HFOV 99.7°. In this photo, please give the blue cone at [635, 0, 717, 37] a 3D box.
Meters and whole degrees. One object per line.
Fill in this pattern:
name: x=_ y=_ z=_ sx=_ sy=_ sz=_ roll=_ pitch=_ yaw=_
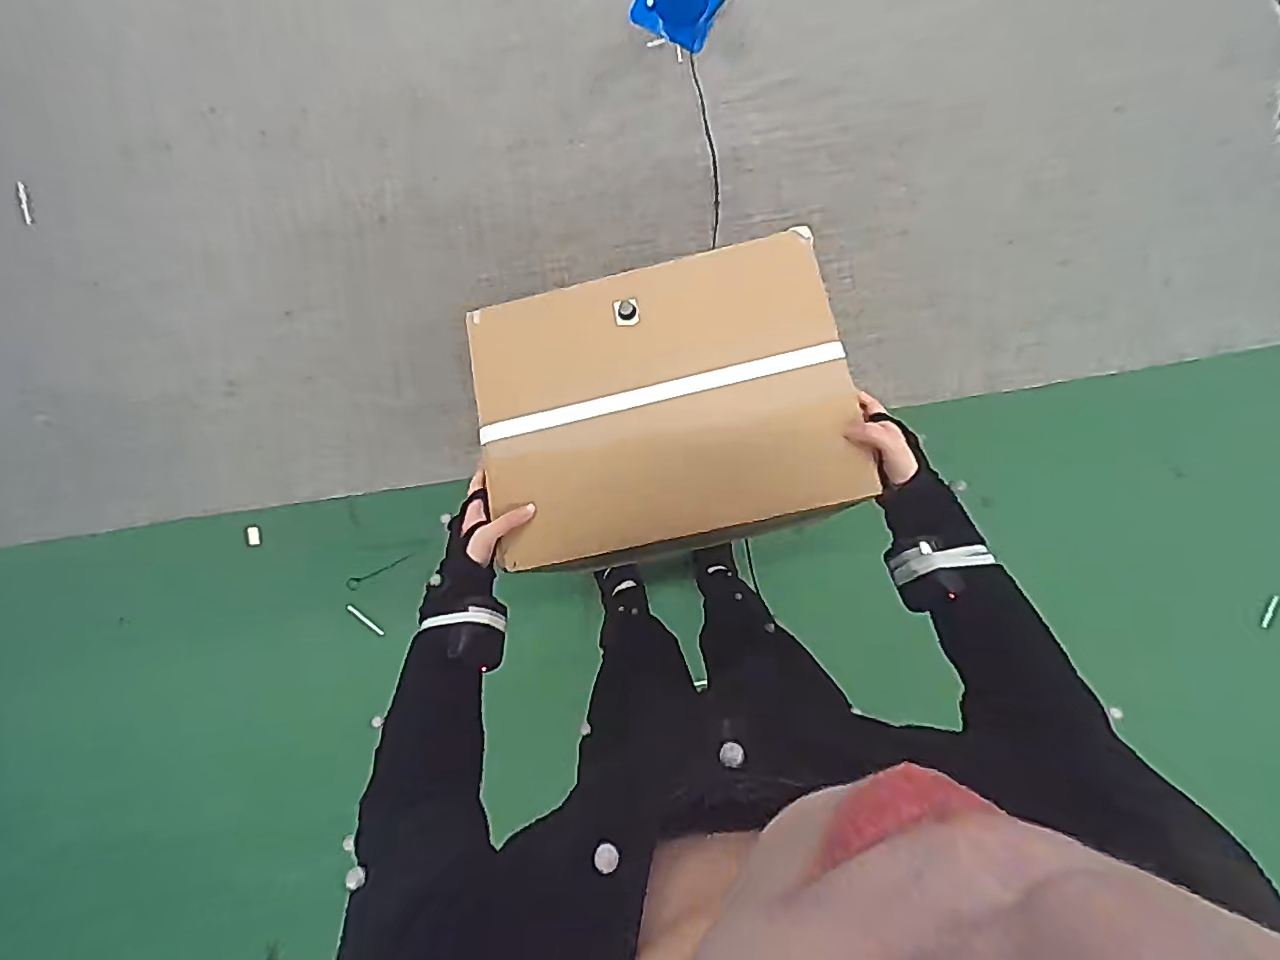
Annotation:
blue cone: x=0.093 y=-1.179 z=1.150 sx=0.192 sy=0.380 sz=0.193 roll=24 pitch=95 yaw=0
